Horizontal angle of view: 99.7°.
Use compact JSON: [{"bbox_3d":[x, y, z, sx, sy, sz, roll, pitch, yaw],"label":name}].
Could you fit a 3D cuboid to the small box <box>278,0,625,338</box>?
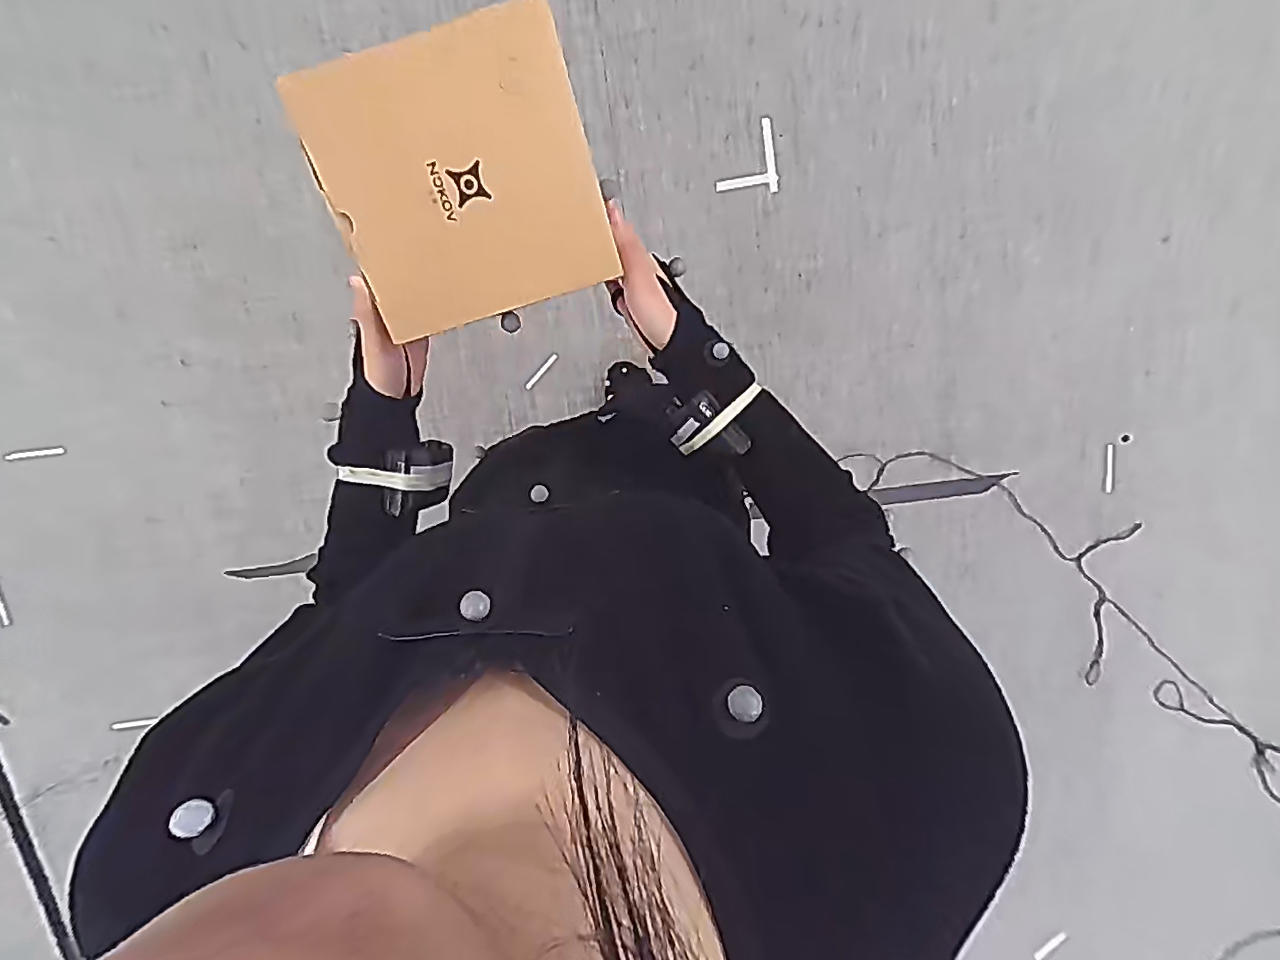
[{"bbox_3d":[-0.121,-0.228,0.424,0.179,0.176,0.168,-17,114,3],"label":"small box"}]
